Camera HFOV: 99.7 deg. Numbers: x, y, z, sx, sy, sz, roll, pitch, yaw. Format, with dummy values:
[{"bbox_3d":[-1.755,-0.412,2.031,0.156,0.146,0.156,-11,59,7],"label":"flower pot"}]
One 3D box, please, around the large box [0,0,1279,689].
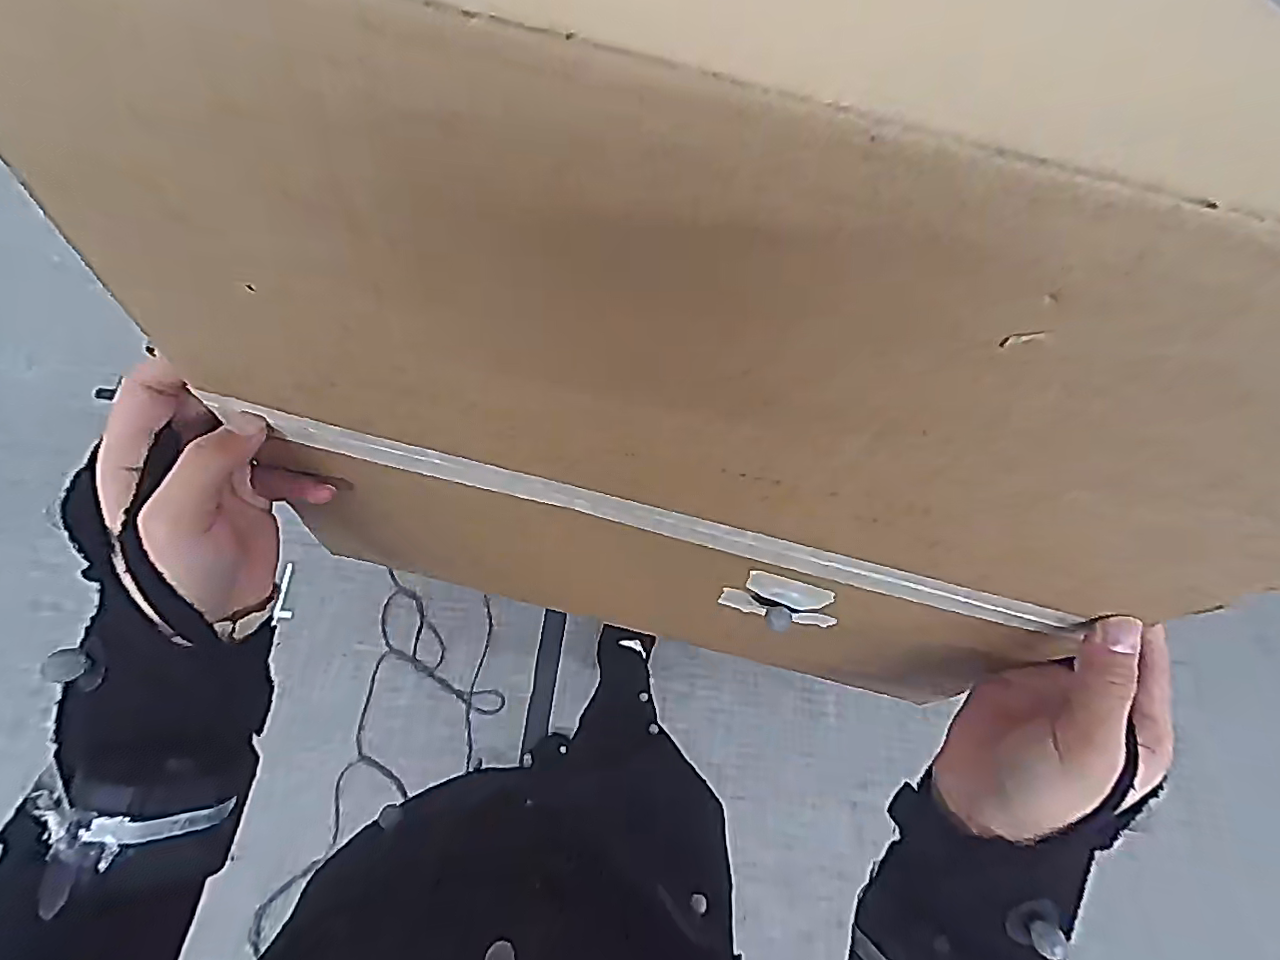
[{"bbox_3d":[0.041,-0.108,0.324,0.408,0.320,0.320,14,57,0],"label":"large box"}]
